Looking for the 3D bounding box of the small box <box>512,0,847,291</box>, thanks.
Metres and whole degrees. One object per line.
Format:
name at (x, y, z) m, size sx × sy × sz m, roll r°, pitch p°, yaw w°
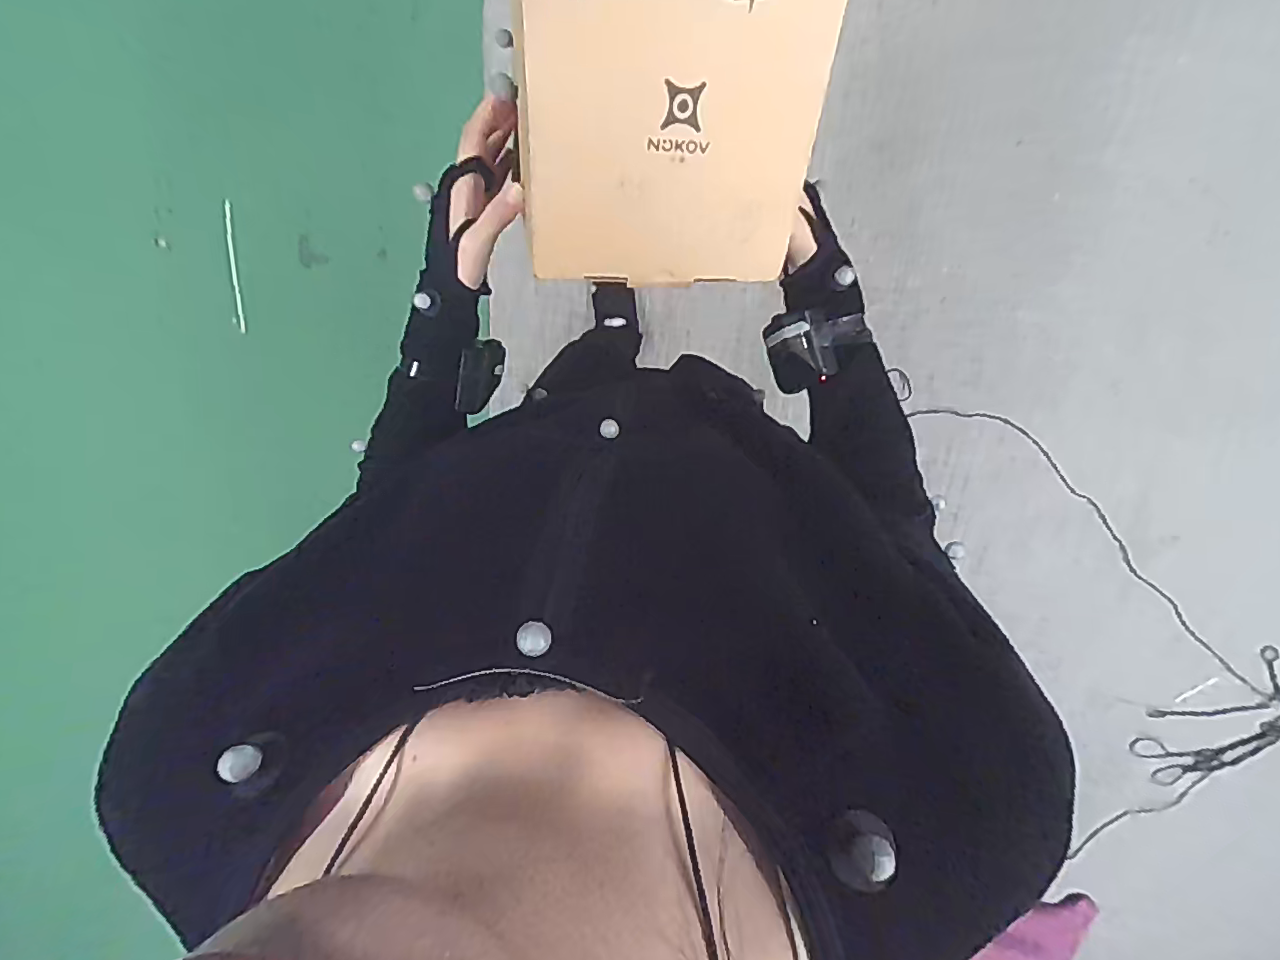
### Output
small box at (0.003, -0.244, 0.356) m, size 0.168 × 0.176 × 0.179 m, roll -3°, pitch 132°, yaw -12°
